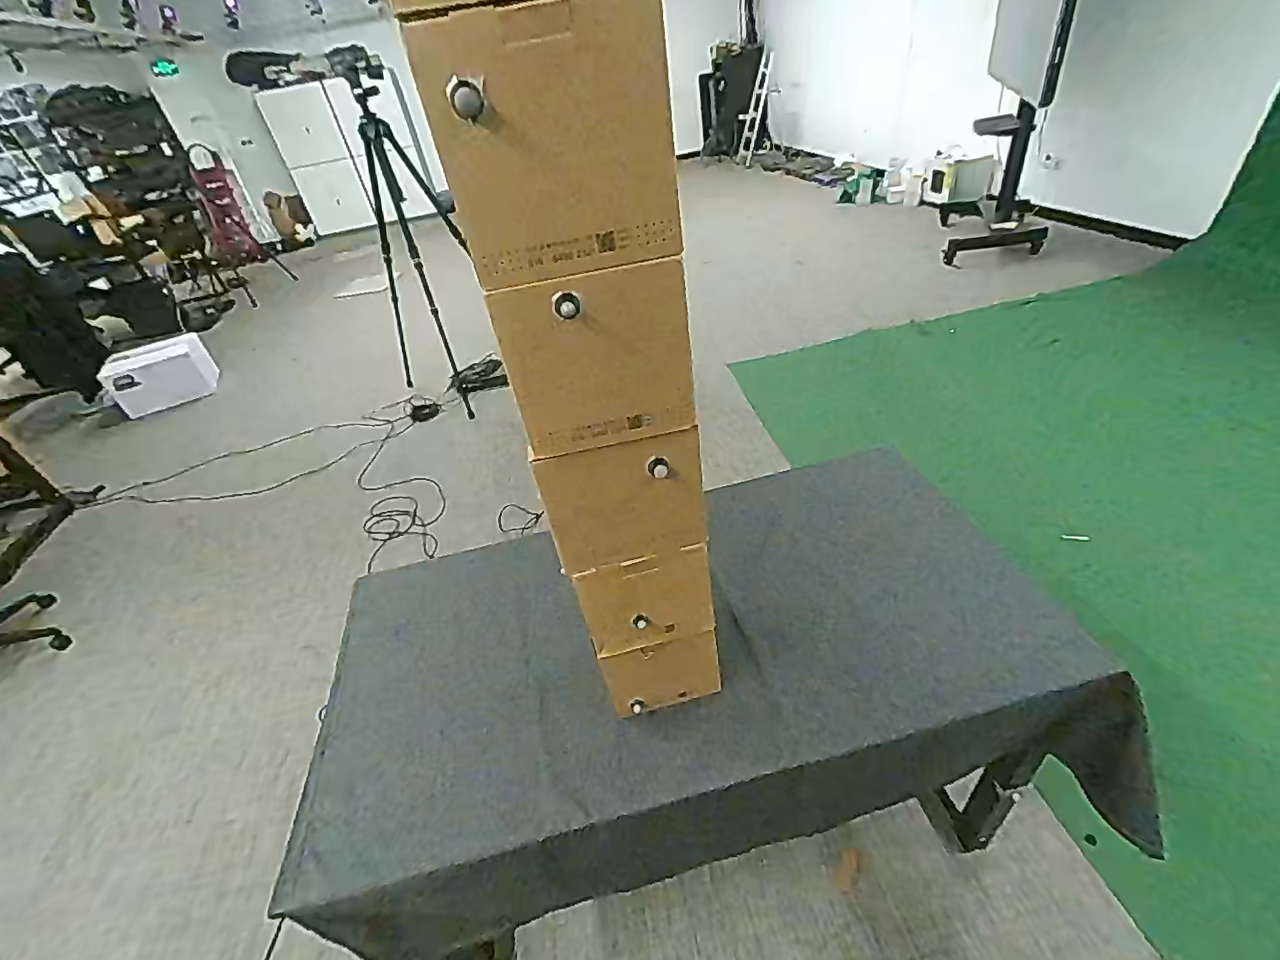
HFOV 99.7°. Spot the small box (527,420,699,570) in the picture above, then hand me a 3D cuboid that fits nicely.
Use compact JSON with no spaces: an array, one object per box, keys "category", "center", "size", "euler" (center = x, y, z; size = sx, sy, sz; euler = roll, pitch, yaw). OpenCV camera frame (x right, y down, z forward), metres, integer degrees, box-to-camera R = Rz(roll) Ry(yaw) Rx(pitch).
[{"category":"small box","center":[-0.030,-0.017,0.655],"size":[0.179,0.176,0.168],"euler":[-13,38,-3]}]

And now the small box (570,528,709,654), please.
[{"category":"small box","center":[-0.008,0.110,0.757],"size":[0.168,0.176,0.179],"euler":[-14,38,-4]}]

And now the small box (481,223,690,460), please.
[{"category":"small box","center":[-0.050,-0.145,0.555],"size":[0.168,0.176,0.179],"euler":[-12,38,-2]}]

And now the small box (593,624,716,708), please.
[{"category":"small box","center":[0.016,0.235,0.856],"size":[0.168,0.176,0.179],"euler":[-14,37,-4]}]
